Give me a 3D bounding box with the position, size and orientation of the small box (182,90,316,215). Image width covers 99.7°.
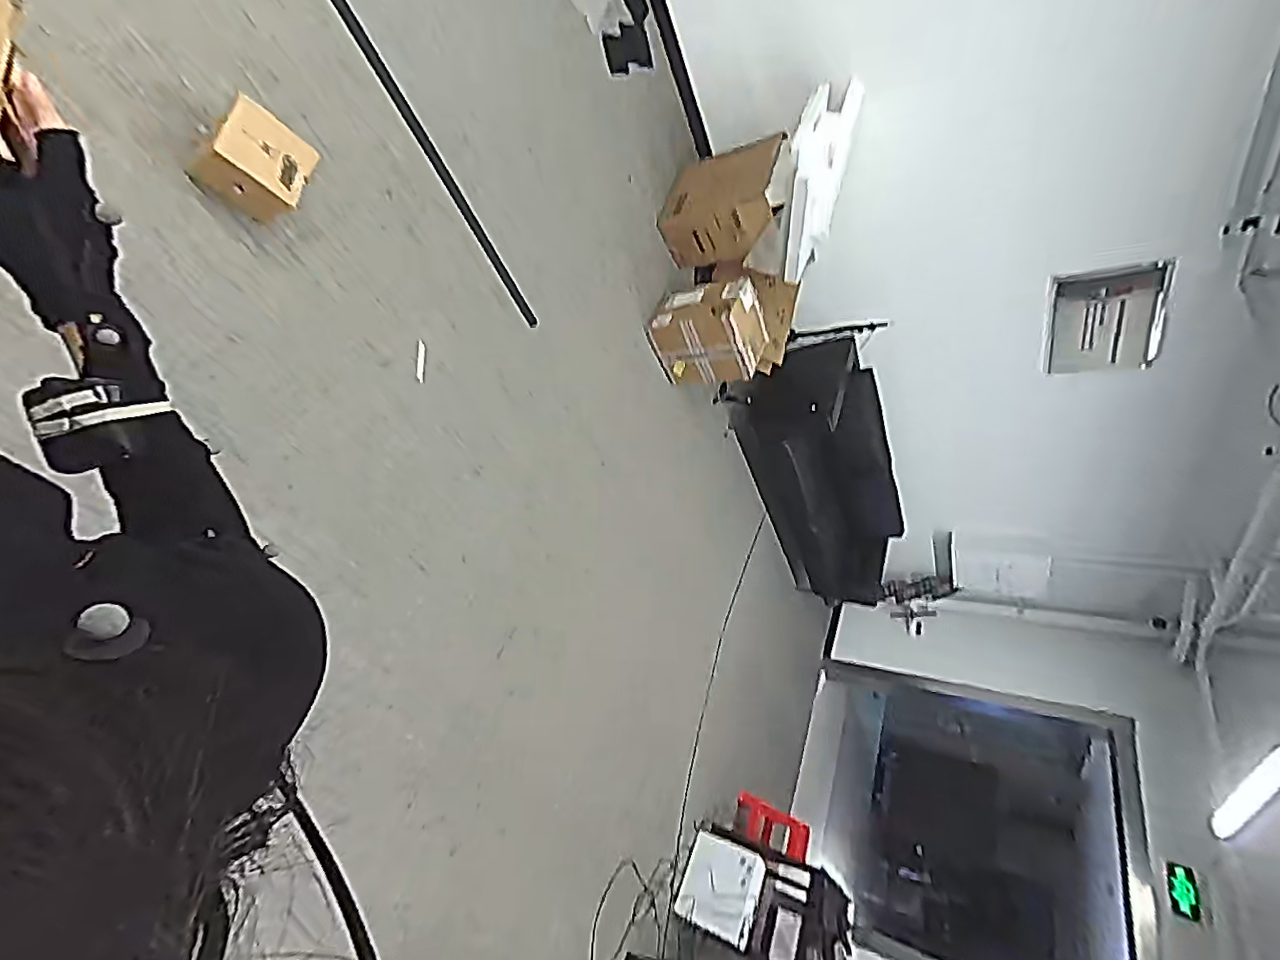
[{"bbox_3d":[-0.914,-0.751,1.266,0.179,0.176,0.168,34,63,-51],"label":"small box"}]
